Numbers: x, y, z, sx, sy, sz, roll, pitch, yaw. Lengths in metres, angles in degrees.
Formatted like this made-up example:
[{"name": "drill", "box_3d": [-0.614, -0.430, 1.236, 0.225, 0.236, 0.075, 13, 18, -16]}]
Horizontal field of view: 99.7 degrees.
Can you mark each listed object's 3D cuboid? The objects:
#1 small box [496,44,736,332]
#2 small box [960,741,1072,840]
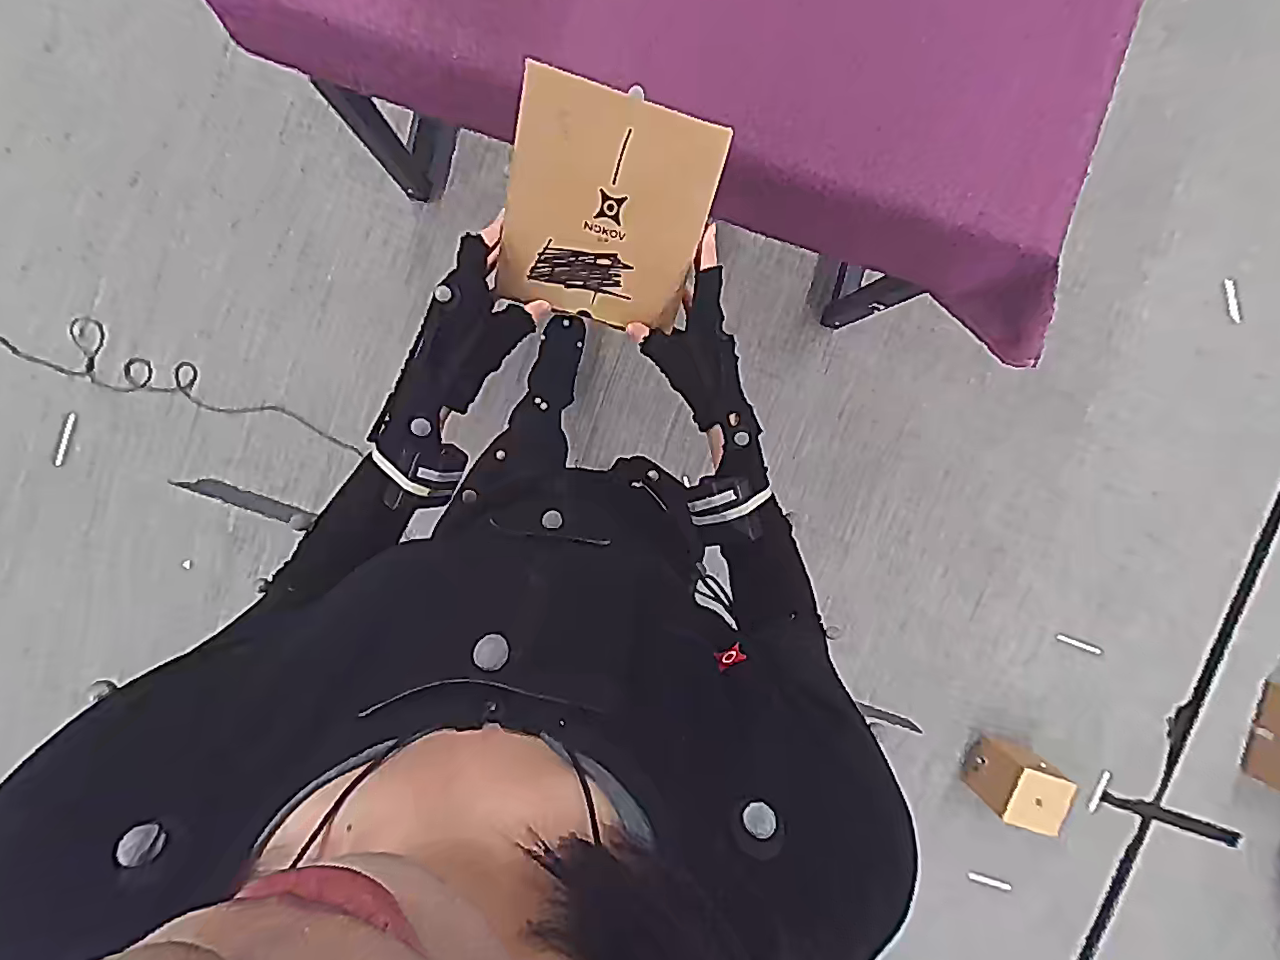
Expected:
[{"name": "small box", "box_3d": [-0.030, -0.267, 0.514, 0.168, 0.176, 0.179, 12, 119, -12]}, {"name": "small box", "box_3d": [1.090, 0.896, 1.578, 0.179, 0.176, 0.168, 20, 92, -5]}]
